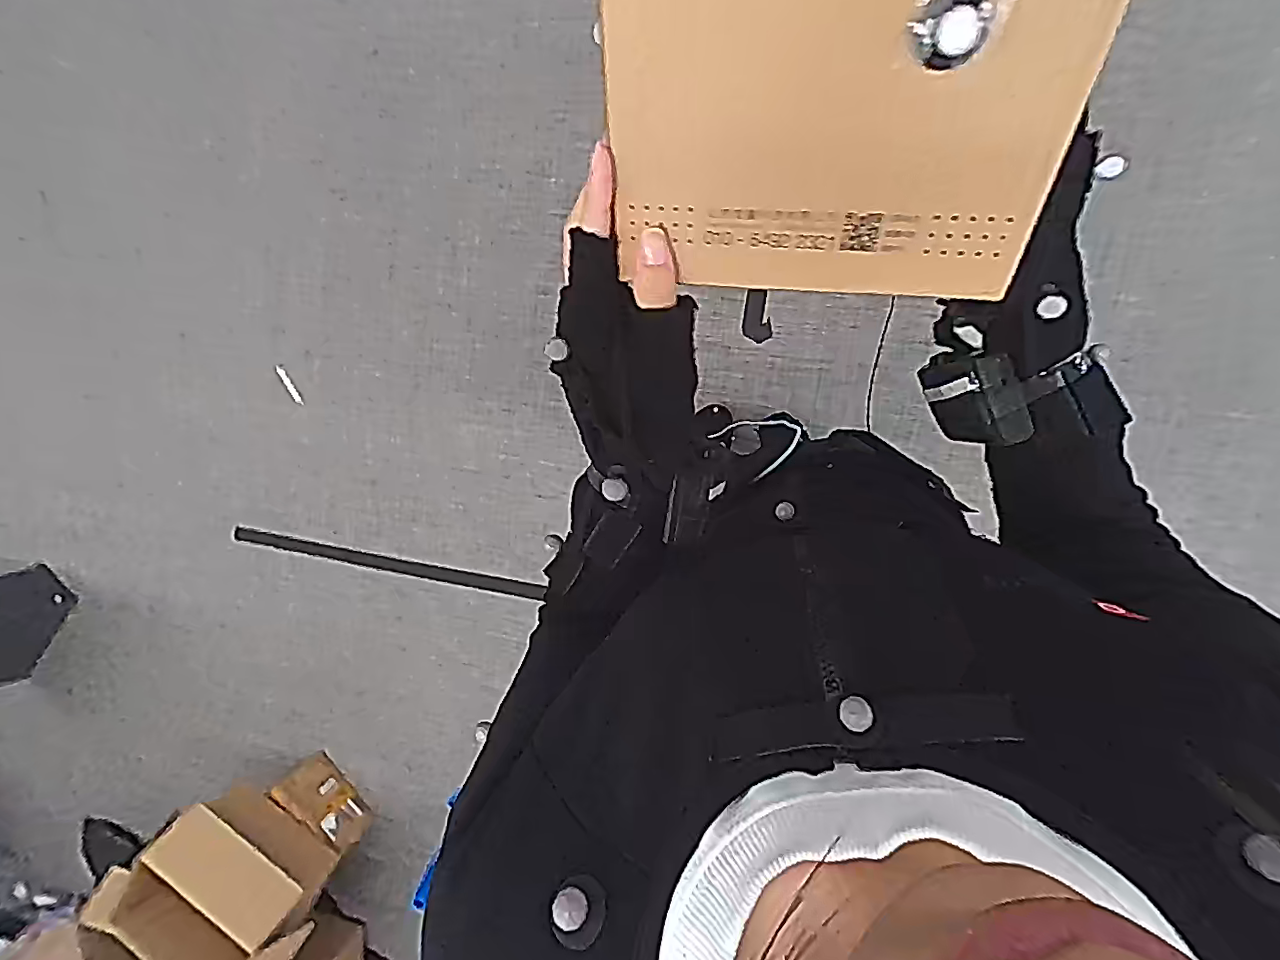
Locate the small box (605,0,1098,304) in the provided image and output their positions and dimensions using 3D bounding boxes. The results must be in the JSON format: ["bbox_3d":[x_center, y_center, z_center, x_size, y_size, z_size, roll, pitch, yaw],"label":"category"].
[{"bbox_3d":[0.089,-0.197,0.251,0.168,0.179,0.176,10,133,14],"label":"small box"}]
